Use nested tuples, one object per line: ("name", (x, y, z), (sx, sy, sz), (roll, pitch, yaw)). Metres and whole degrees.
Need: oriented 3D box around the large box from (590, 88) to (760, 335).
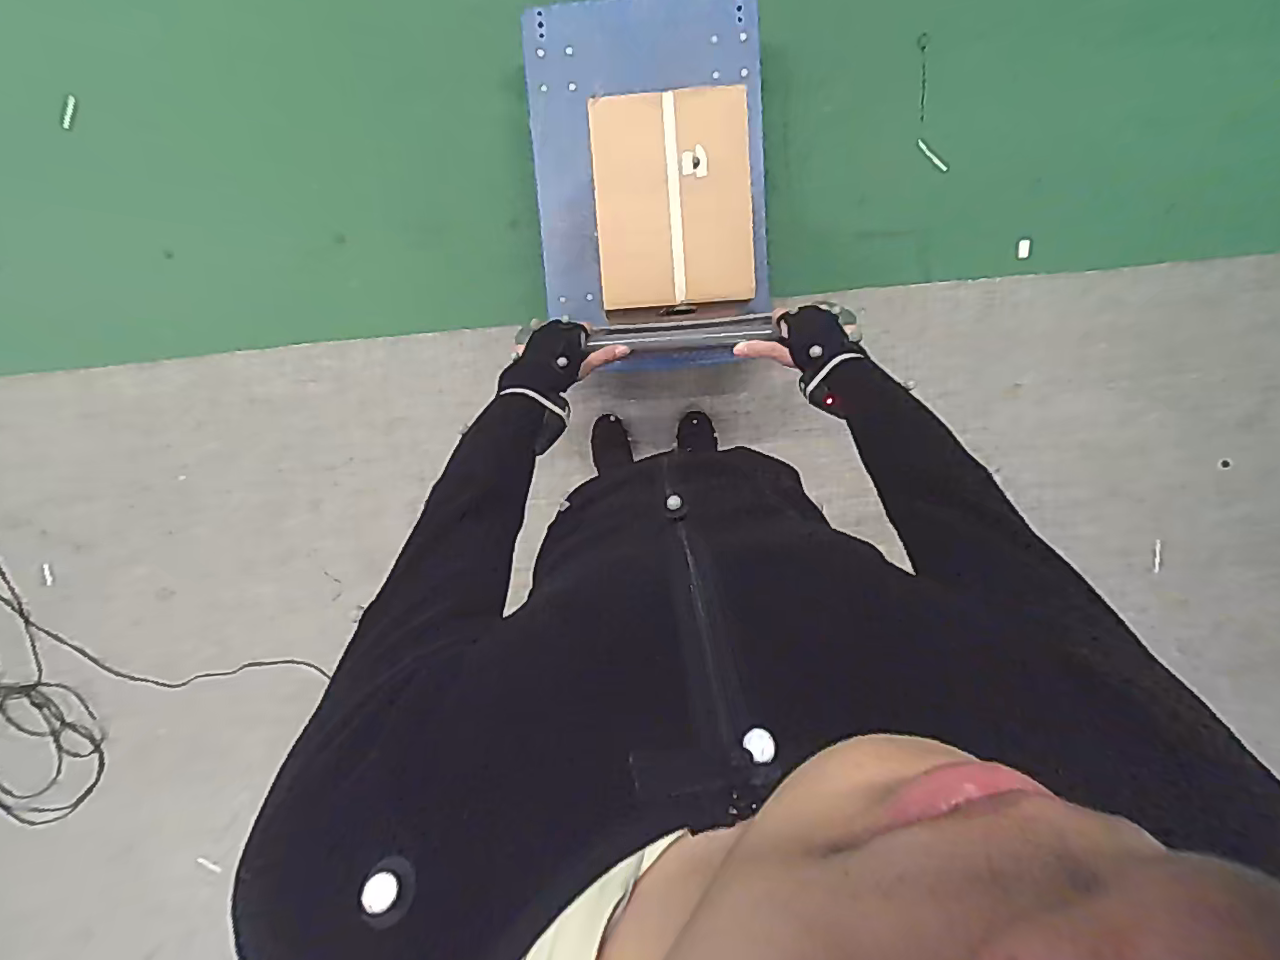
("large box", (0.073, -0.563, 1.212), (0.320, 0.320, 0.408), (-4, 96, 0))
